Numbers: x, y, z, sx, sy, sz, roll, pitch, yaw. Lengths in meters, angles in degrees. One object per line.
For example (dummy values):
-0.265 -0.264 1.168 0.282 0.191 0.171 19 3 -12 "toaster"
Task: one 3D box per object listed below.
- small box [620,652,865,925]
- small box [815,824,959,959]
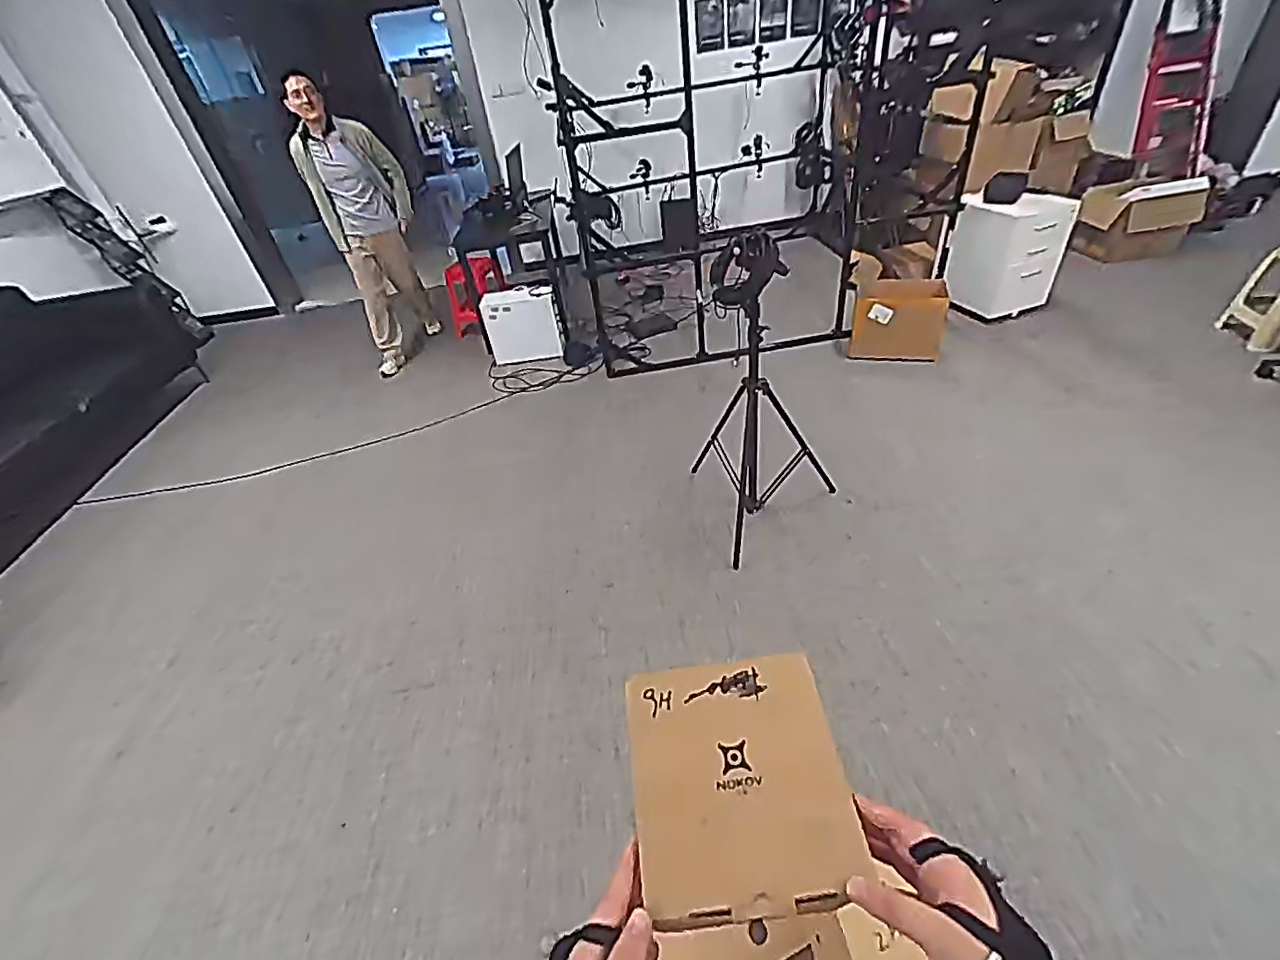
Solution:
0.079 0.281 0.492 0.168 0.176 0.179 -9 50 1 "small box"
0.395 0.724 0.917 0.168 0.176 0.179 -10 38 -1 "small box"
